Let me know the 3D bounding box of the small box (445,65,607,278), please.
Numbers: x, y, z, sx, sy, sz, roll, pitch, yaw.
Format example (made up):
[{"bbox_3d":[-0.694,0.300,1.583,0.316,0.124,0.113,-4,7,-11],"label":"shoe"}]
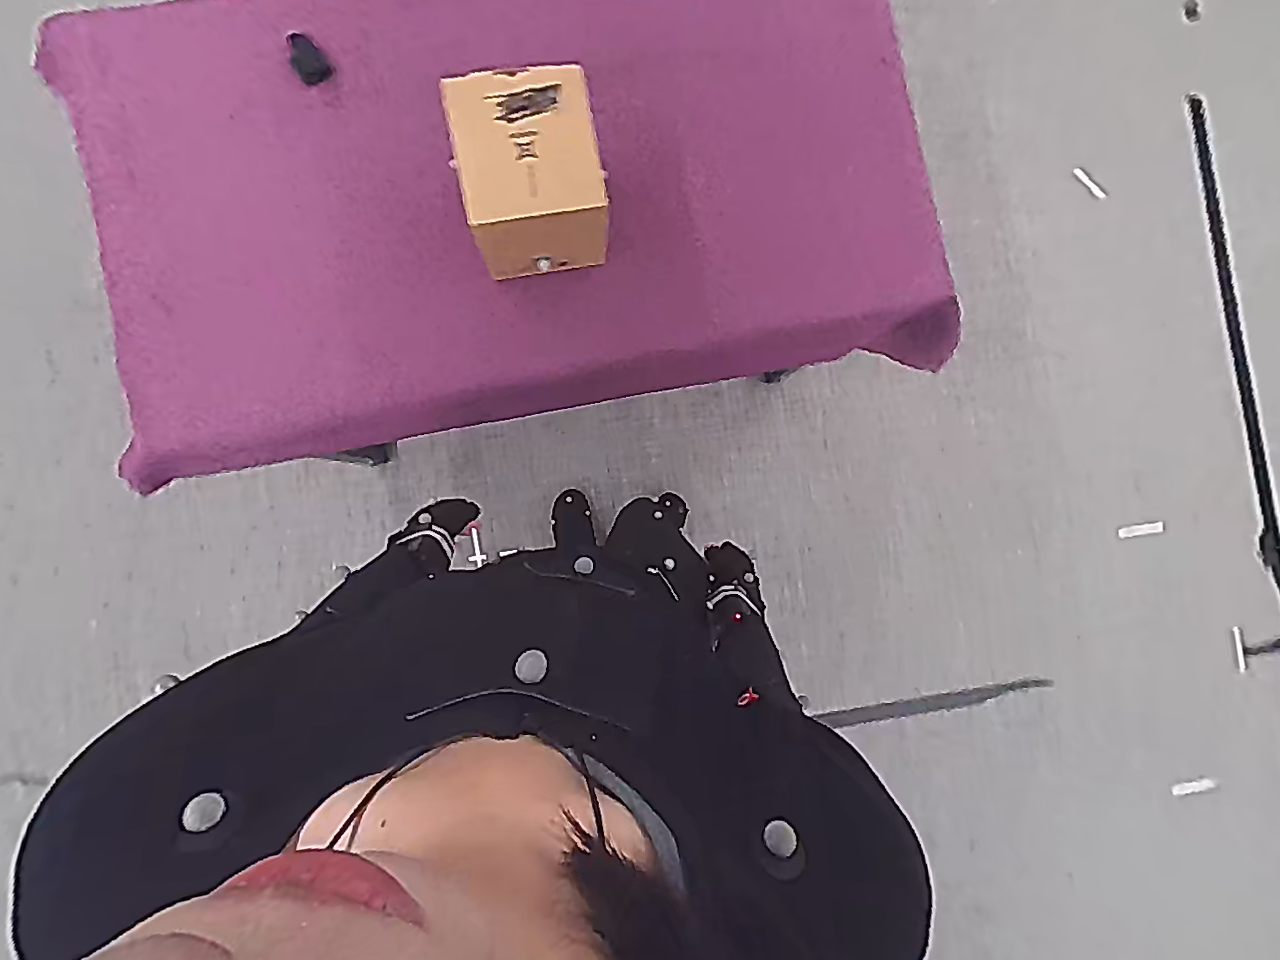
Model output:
[{"bbox_3d":[-0.143,-0.394,0.716,0.168,0.176,0.179,-11,90,-5],"label":"small box"}]
